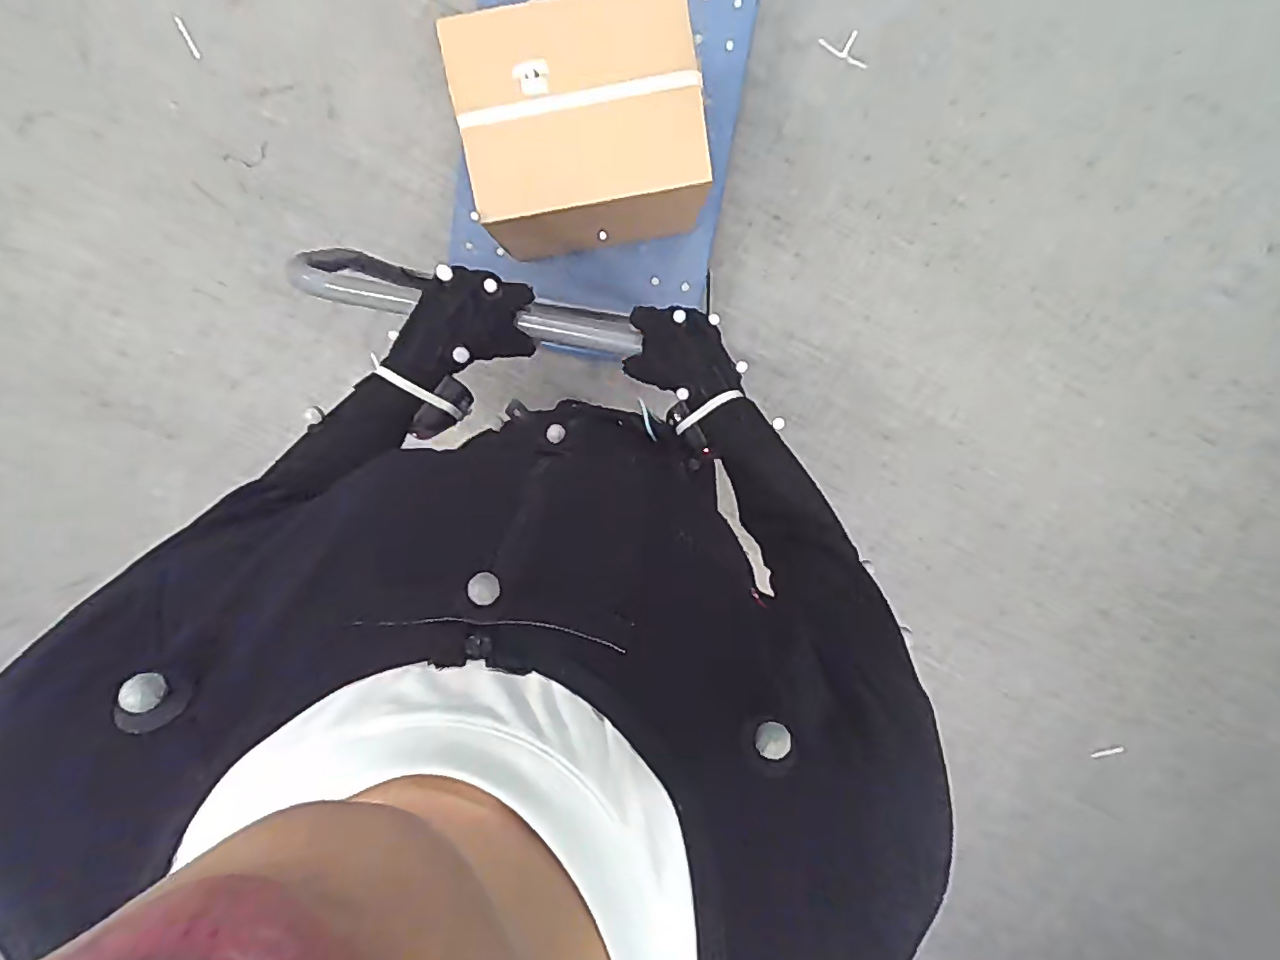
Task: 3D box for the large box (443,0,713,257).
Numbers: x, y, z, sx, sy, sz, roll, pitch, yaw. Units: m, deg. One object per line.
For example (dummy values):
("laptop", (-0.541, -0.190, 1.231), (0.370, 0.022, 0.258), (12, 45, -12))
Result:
("large box", (-0.098, -0.652, 1.037), (0.408, 0.320, 0.320), (-10, 100, 2))
